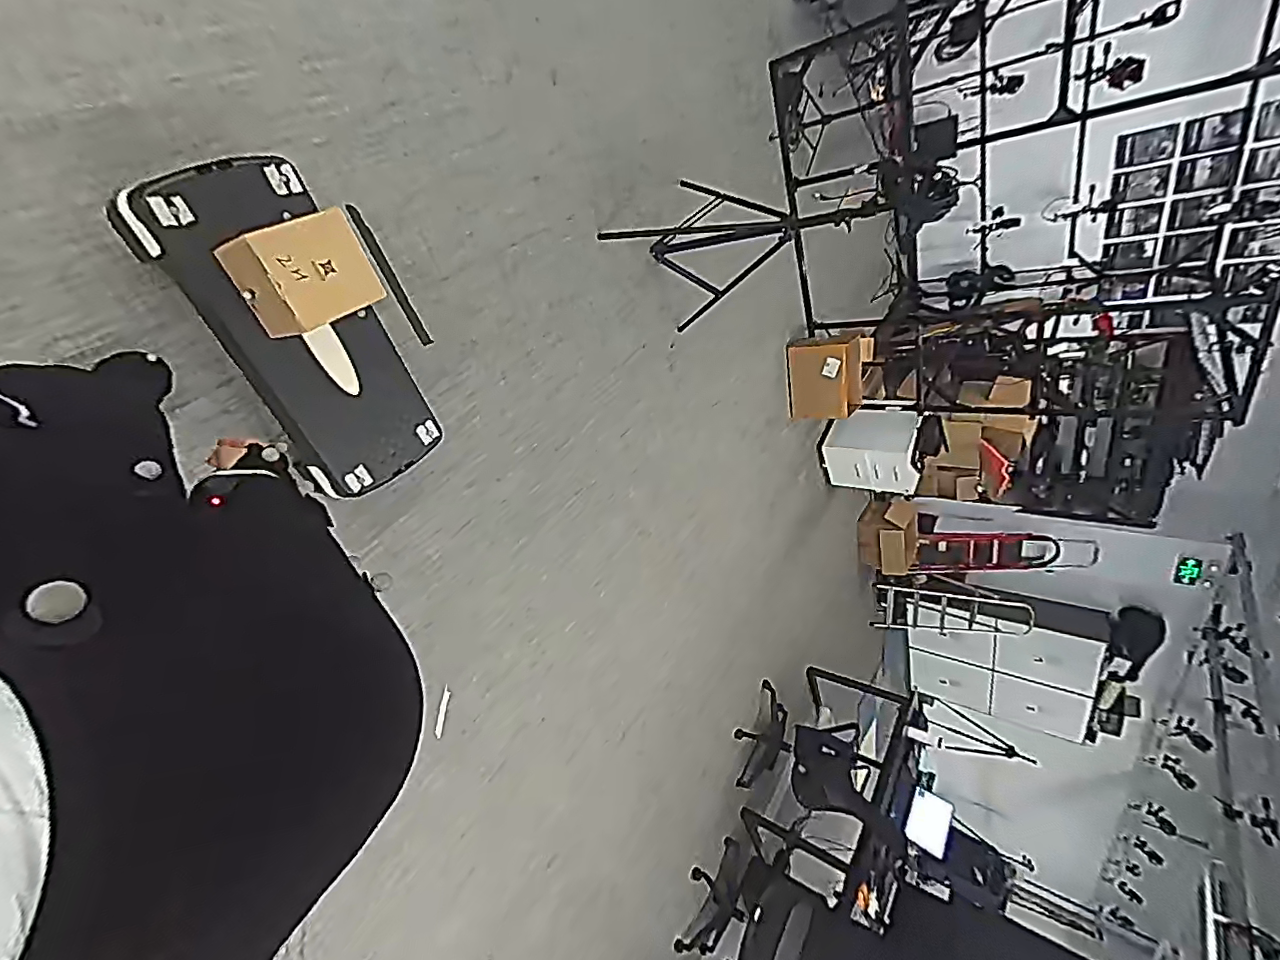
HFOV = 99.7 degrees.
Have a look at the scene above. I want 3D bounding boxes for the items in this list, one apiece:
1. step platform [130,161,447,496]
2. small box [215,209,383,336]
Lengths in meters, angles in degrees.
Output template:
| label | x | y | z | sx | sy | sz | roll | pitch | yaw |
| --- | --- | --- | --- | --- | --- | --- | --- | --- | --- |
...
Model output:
| label | x | y | z | sx | sy | sz | roll | pitch | yaw |
| --- | --- | --- | --- | --- | --- | --- | --- | --- | --- |
| step platform | -0.711 | -0.297 | 1.180 | 0.286 | 0.204 | 0.684 | -47 | 129 | -37 |
| small box | -0.624 | -0.377 | 0.993 | 0.179 | 0.176 | 0.168 | -46 | 129 | -38 |
